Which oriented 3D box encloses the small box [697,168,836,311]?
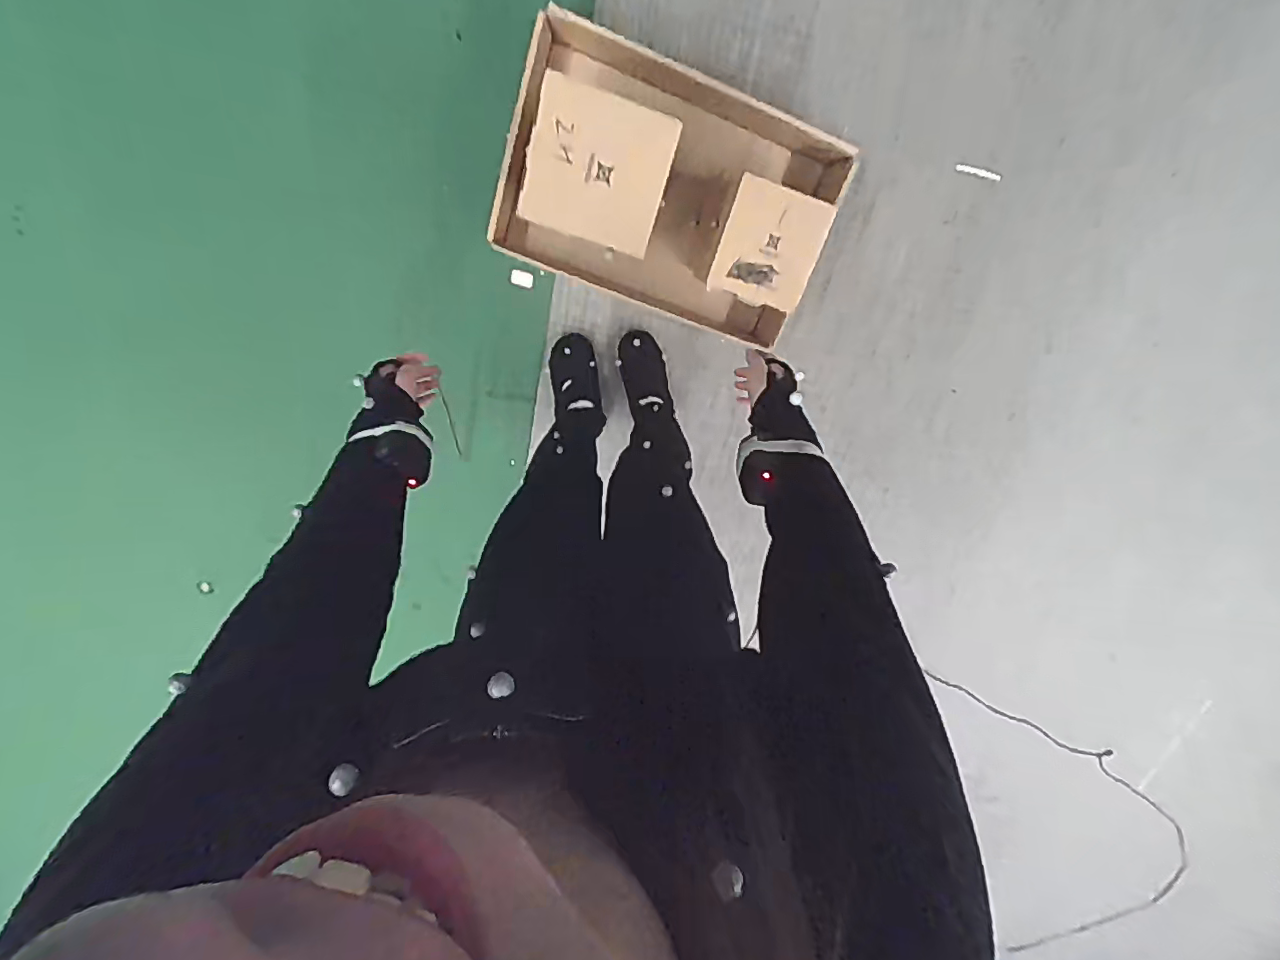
[{"bbox_3d":[0.207,-0.418,0.950,0.168,0.176,0.179,16,113,-11],"label":"small box"}]

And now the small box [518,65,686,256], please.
[{"bbox_3d":[-0.056,-0.428,0.747,0.179,0.176,0.168,15,114,-12],"label":"small box"}]
